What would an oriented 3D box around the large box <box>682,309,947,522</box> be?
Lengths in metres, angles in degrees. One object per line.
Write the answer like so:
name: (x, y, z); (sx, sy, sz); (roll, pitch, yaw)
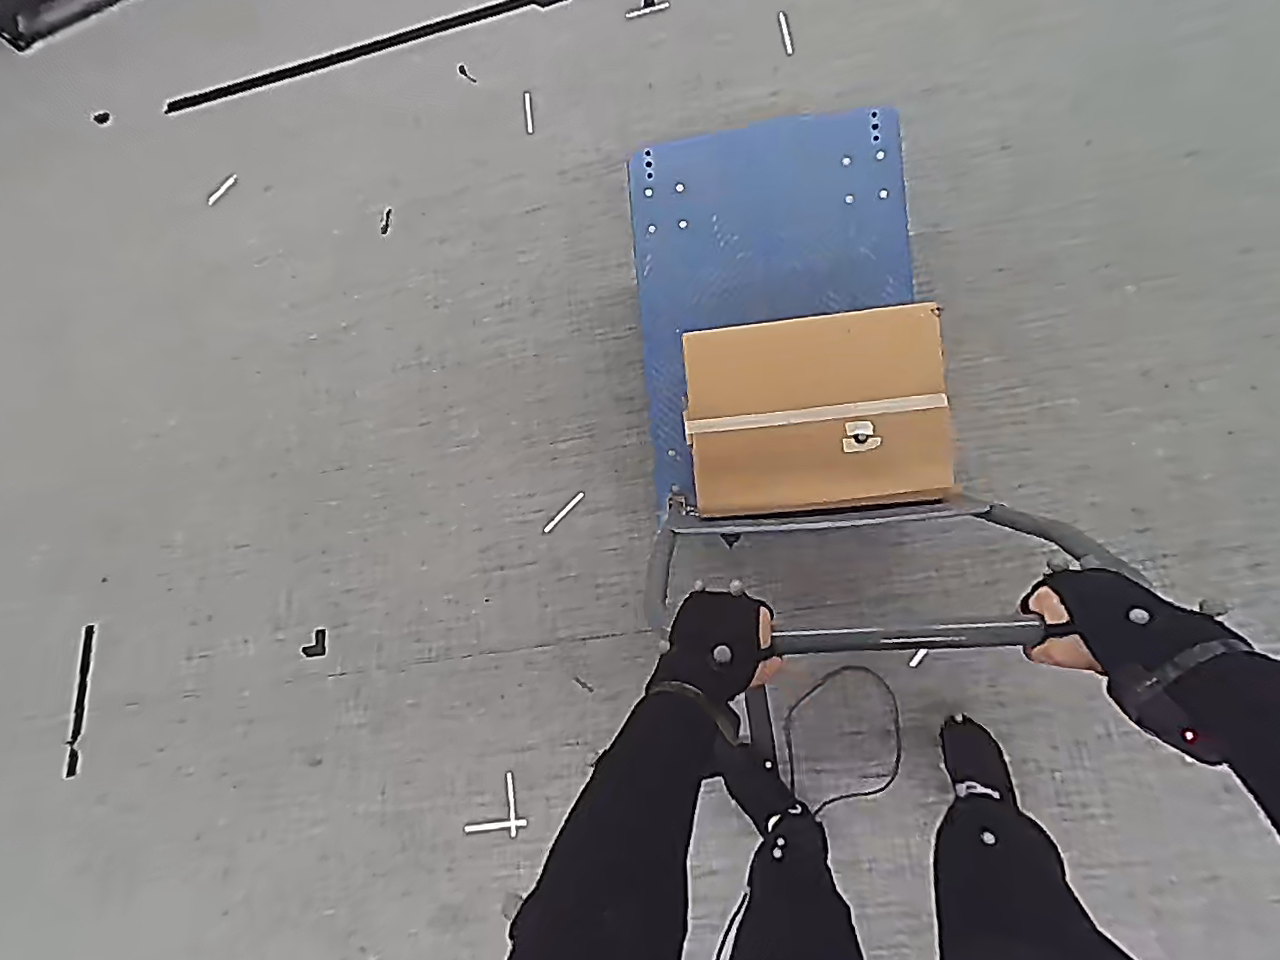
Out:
large box: (0.301, -0.106, 1.043); (0.408, 0.320, 0.320); (-6, 92, 7)
